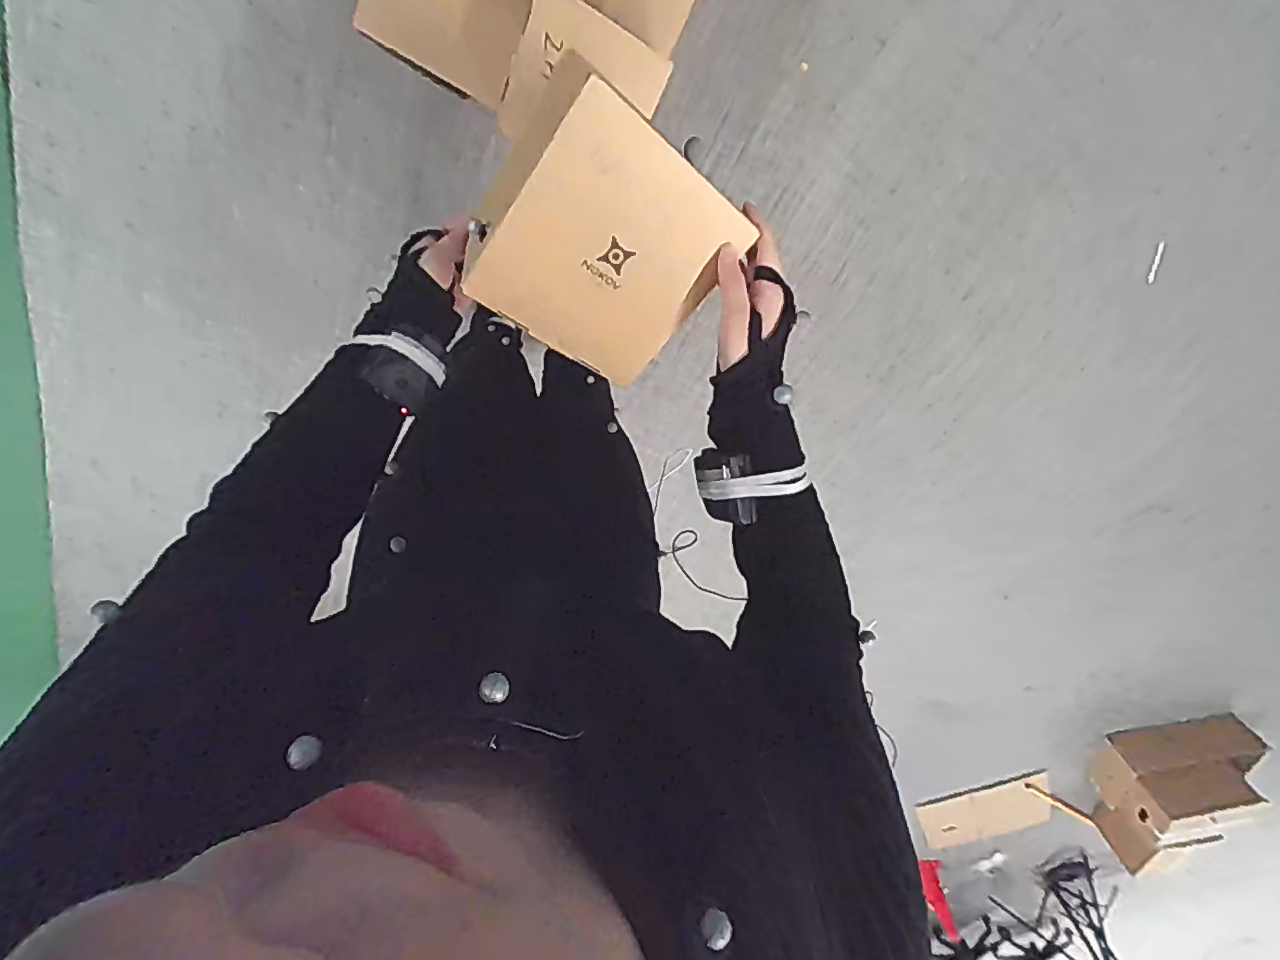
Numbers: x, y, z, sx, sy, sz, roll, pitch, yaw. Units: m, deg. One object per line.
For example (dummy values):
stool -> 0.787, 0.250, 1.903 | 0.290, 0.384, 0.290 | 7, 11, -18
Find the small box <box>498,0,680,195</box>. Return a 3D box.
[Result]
small box -> -0.070, -0.518, 0.727 | 0.179, 0.176, 0.168 | 21, 119, -19
